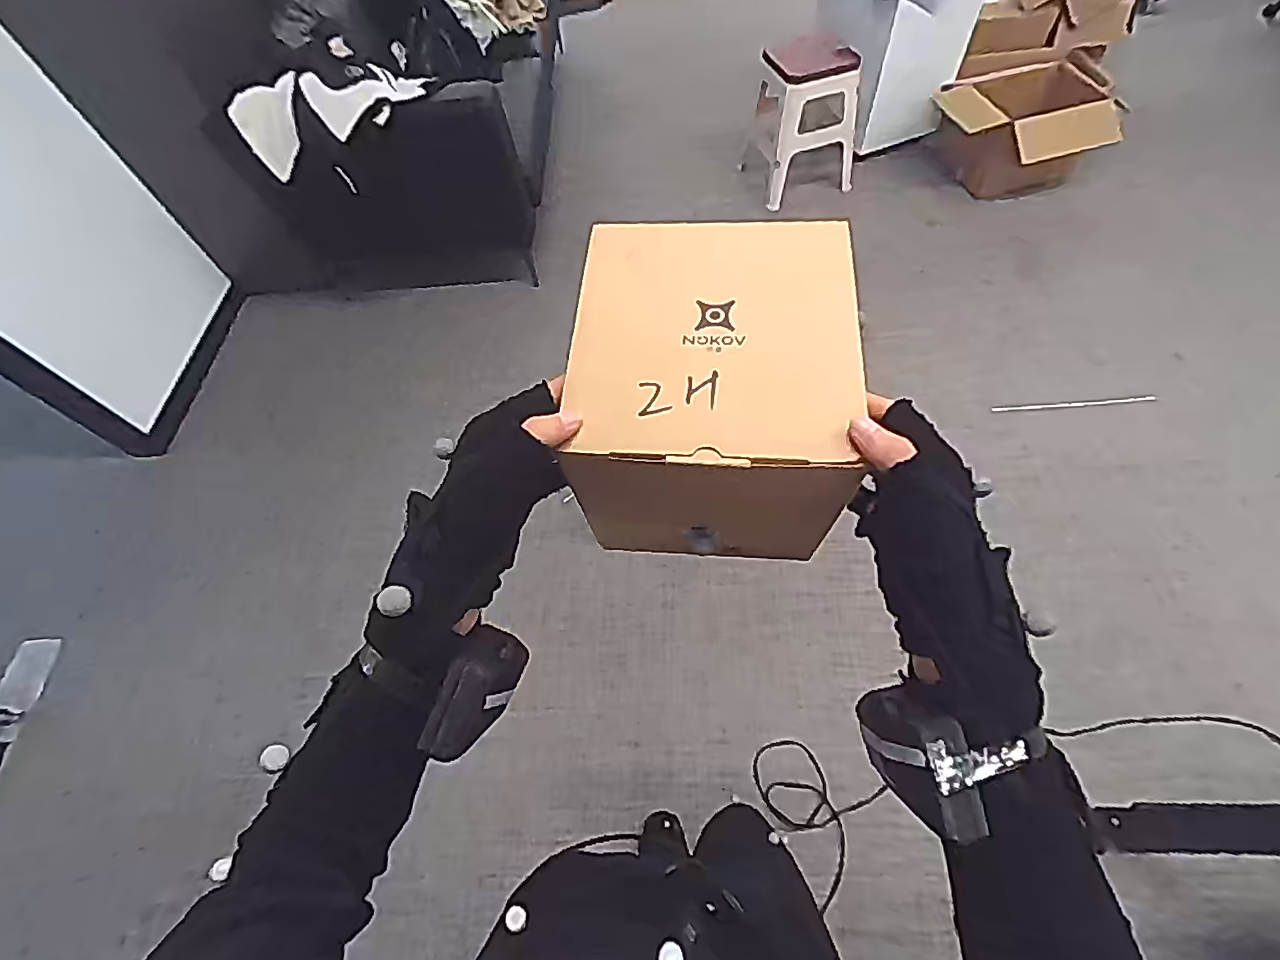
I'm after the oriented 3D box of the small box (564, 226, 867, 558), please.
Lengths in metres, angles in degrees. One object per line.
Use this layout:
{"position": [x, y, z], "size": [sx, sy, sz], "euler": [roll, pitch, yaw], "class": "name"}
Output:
{"position": [0.053, -0.057, 0.396], "size": [0.168, 0.176, 0.179], "euler": [3, 65, 8], "class": "small box"}
